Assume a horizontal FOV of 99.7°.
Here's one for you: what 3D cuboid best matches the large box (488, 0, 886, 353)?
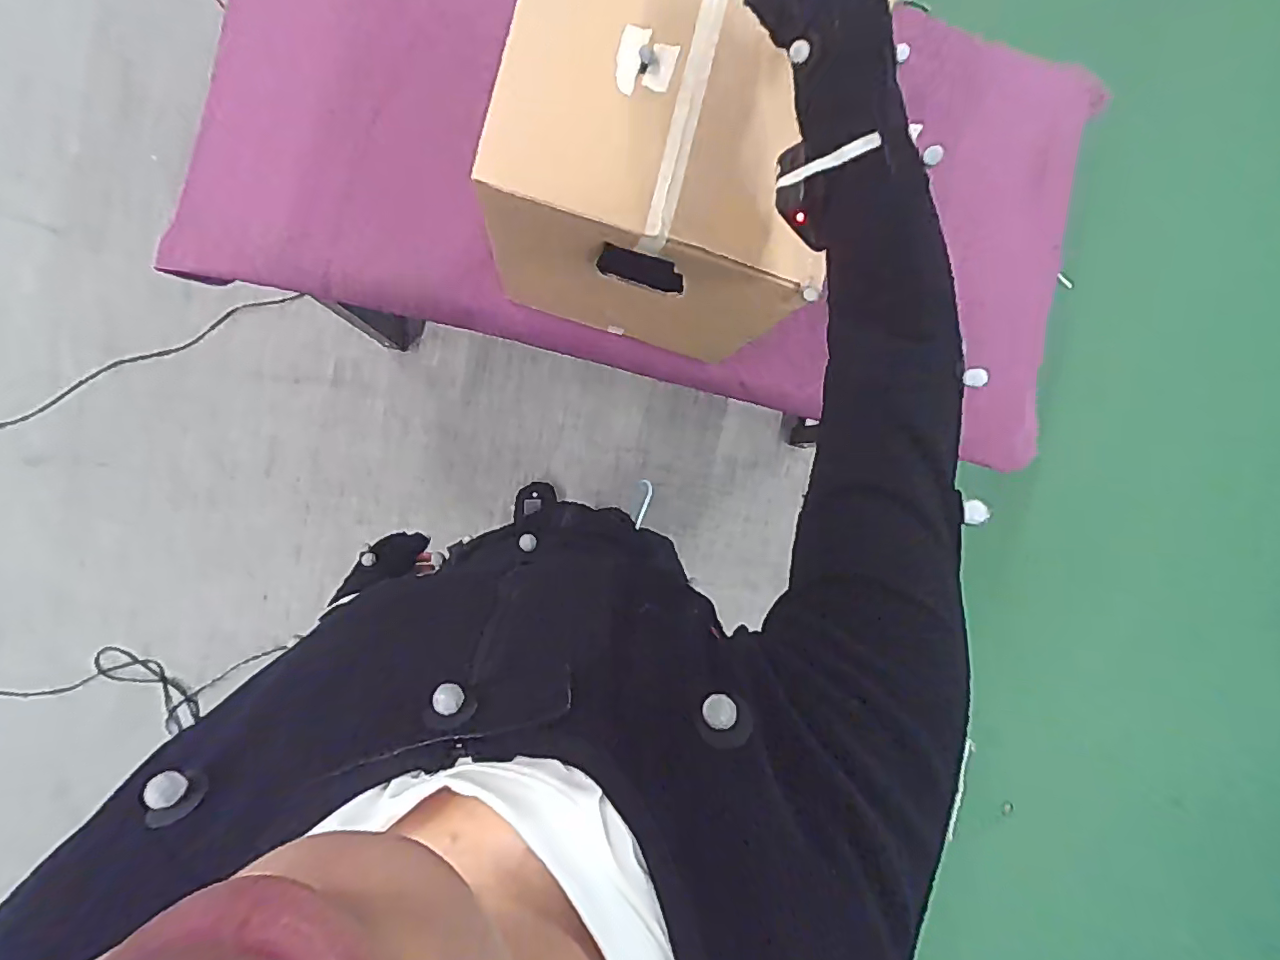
[{"bbox_3d":[0.038,-0.408,0.627,0.320,0.320,0.408,15,89,-9],"label":"large box"}]
